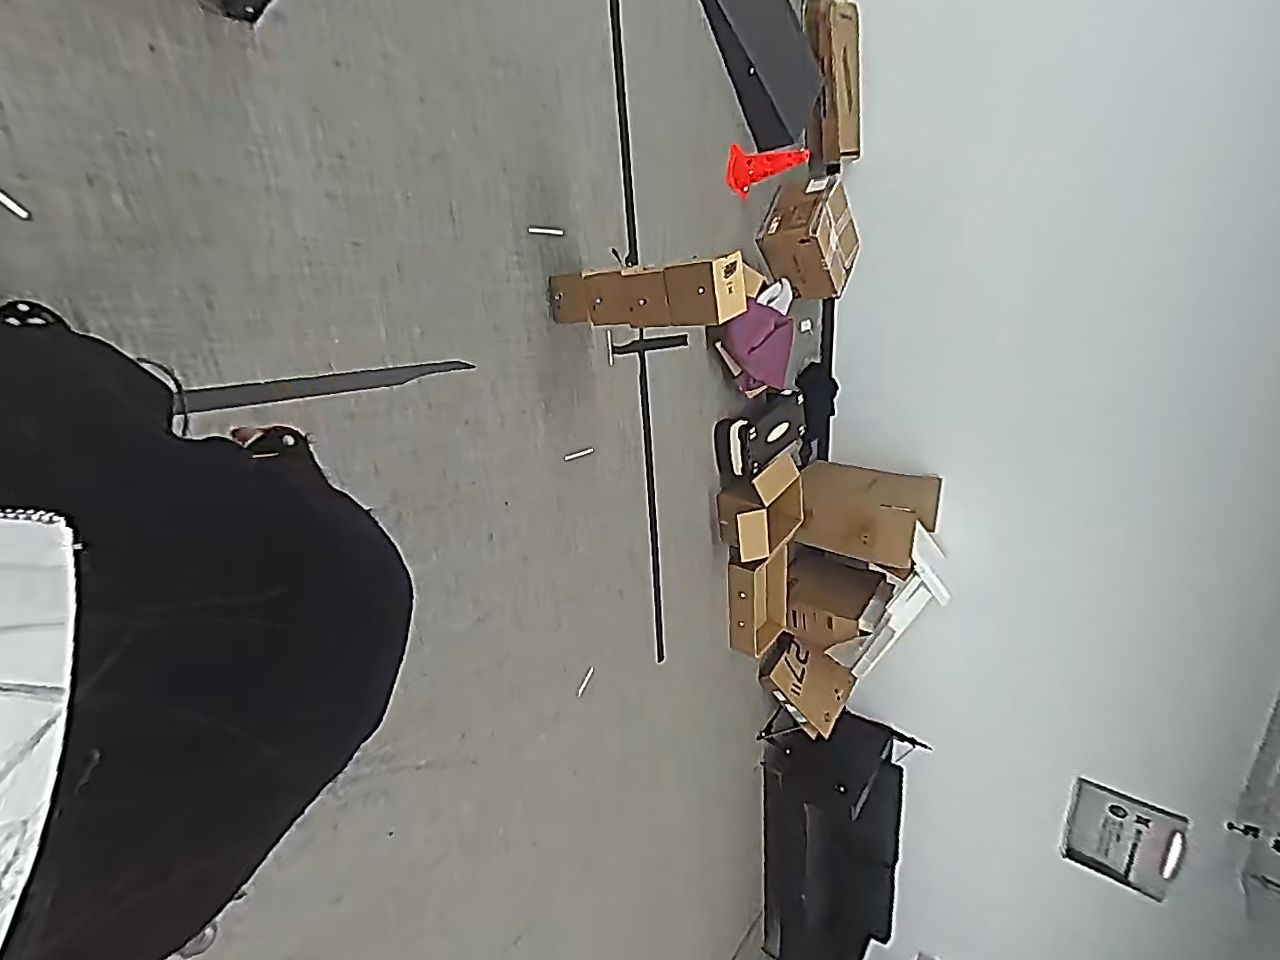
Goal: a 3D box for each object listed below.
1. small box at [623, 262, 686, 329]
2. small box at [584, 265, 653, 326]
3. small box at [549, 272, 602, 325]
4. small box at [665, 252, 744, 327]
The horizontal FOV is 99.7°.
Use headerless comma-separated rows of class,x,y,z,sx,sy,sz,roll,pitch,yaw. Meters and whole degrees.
small box,0.063,-0.583,1.714,0.179,0.176,0.168,-35,123,-41
small box,-0.061,-0.619,1.816,0.179,0.176,0.168,-33,121,-42
small box,-0.196,-0.642,1.910,0.179,0.176,0.168,-27,117,-43
small box,0.191,-0.564,1.611,0.168,0.176,0.179,-36,125,-41
